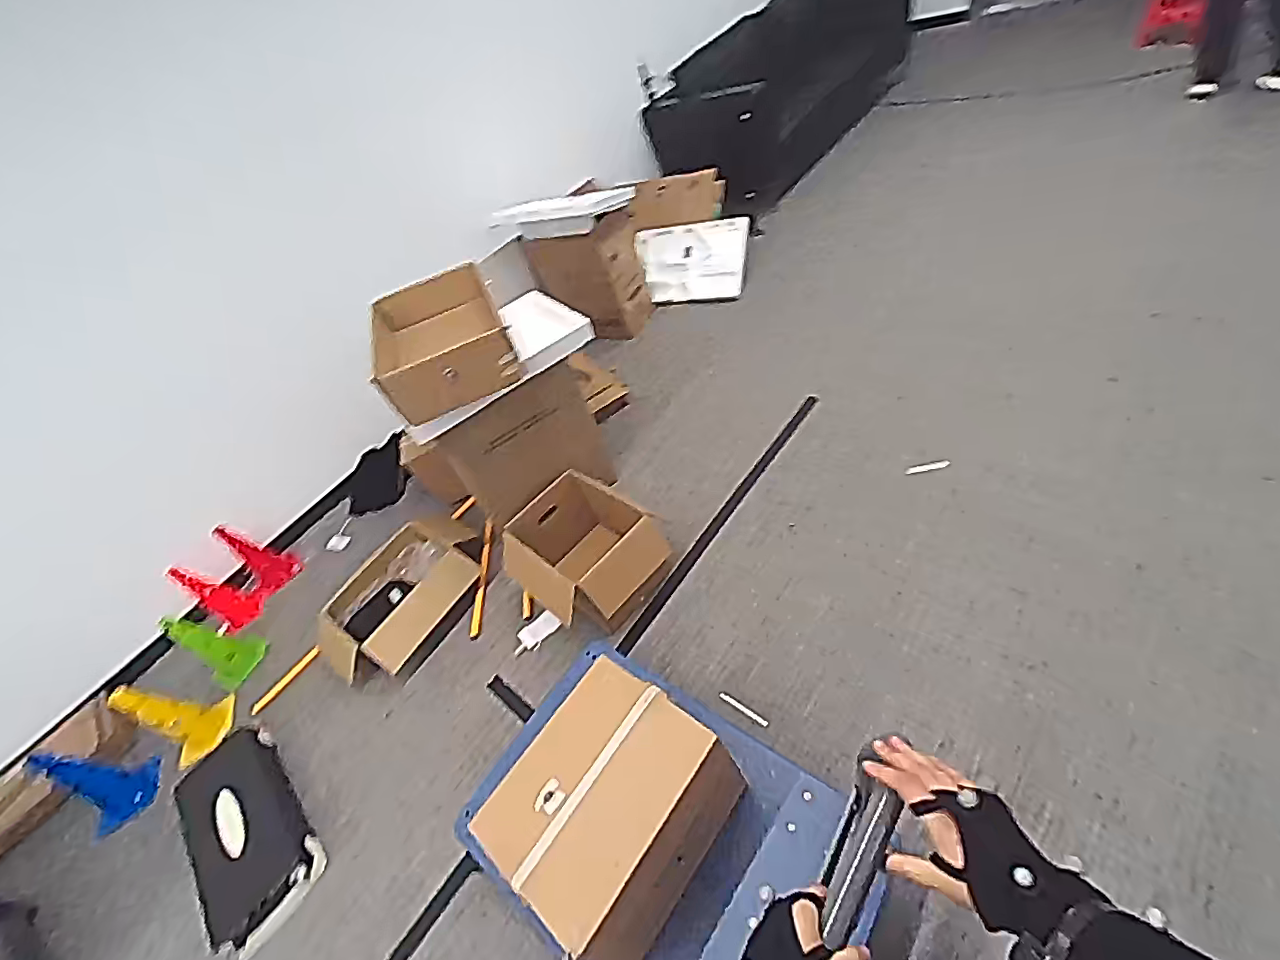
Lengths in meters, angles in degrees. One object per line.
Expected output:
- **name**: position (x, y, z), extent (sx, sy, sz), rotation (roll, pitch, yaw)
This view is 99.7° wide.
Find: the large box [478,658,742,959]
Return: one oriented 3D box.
- **large box**: position (-0.038, 0.665, 1.120), extent (0.320, 0.320, 0.408), rotation (21, 60, 38)
